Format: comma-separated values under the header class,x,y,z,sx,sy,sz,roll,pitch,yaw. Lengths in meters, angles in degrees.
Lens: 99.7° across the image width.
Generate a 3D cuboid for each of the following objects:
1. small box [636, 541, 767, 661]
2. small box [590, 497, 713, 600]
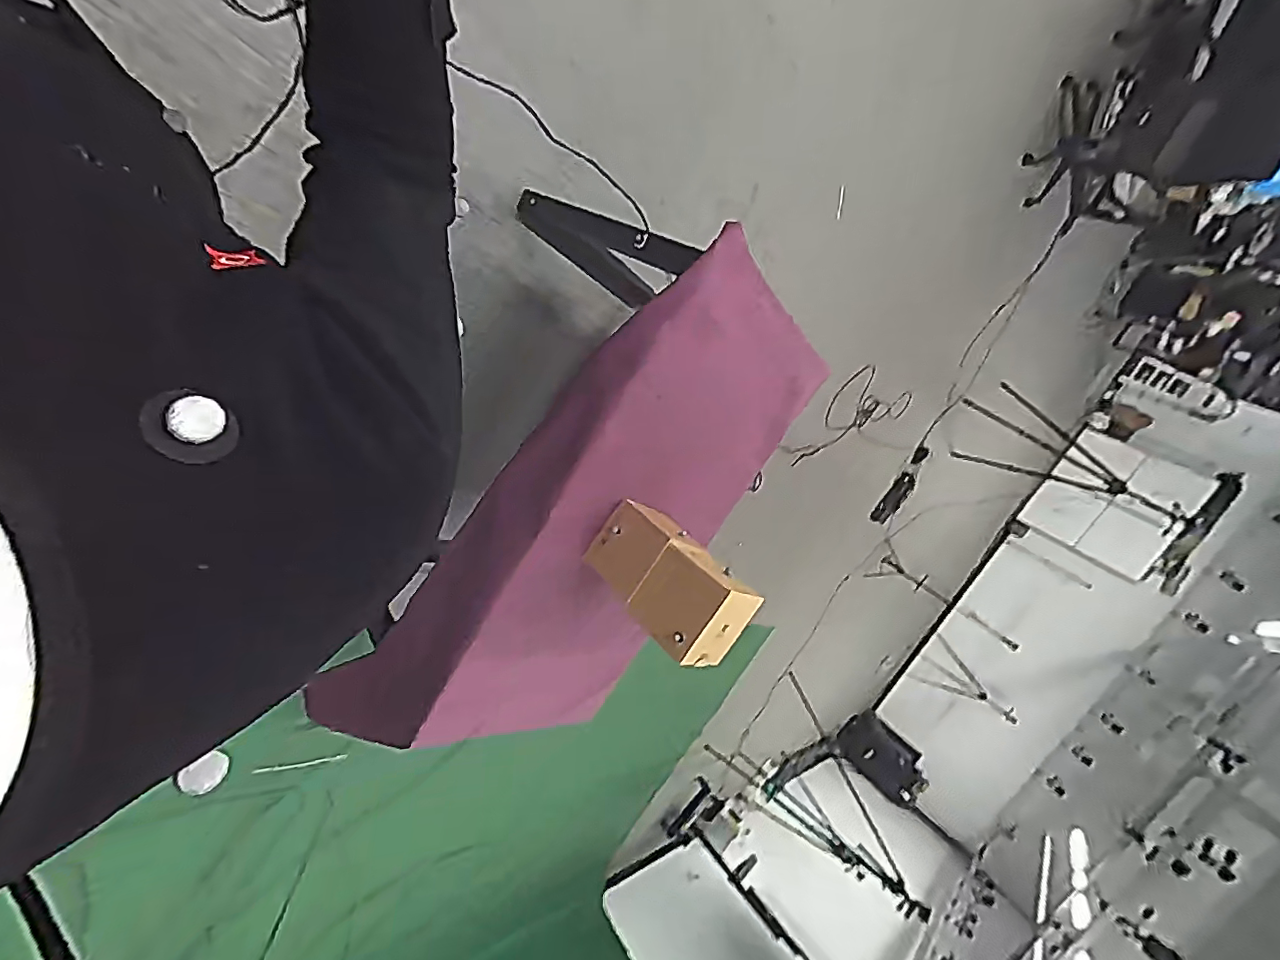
class,x,y,z,sx,sy,sz,roll,pitch,yaw
small box,0.122,0.247,1.113,0.168,0.176,0.179,25,101,-52
small box,0.025,0.159,1.209,0.168,0.176,0.179,-56,142,5
